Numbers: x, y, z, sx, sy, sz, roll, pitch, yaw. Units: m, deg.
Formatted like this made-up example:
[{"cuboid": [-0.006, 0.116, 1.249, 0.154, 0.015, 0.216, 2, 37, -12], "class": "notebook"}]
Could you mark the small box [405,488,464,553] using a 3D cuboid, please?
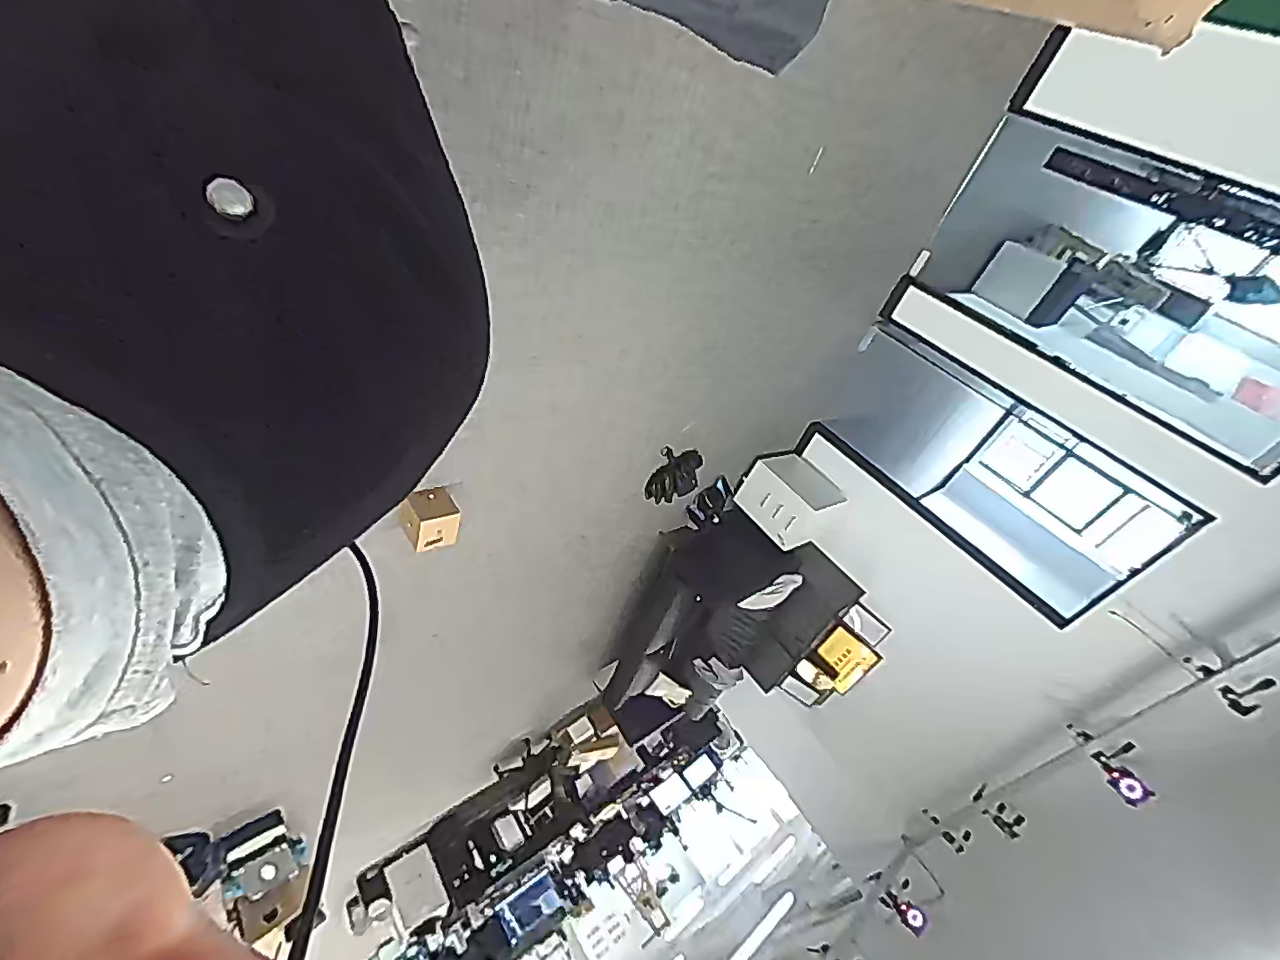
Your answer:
[{"cuboid": [-0.835, 0.160, 2.186, 0.168, 0.176, 0.179, -14, 139, -42], "class": "small box"}]
